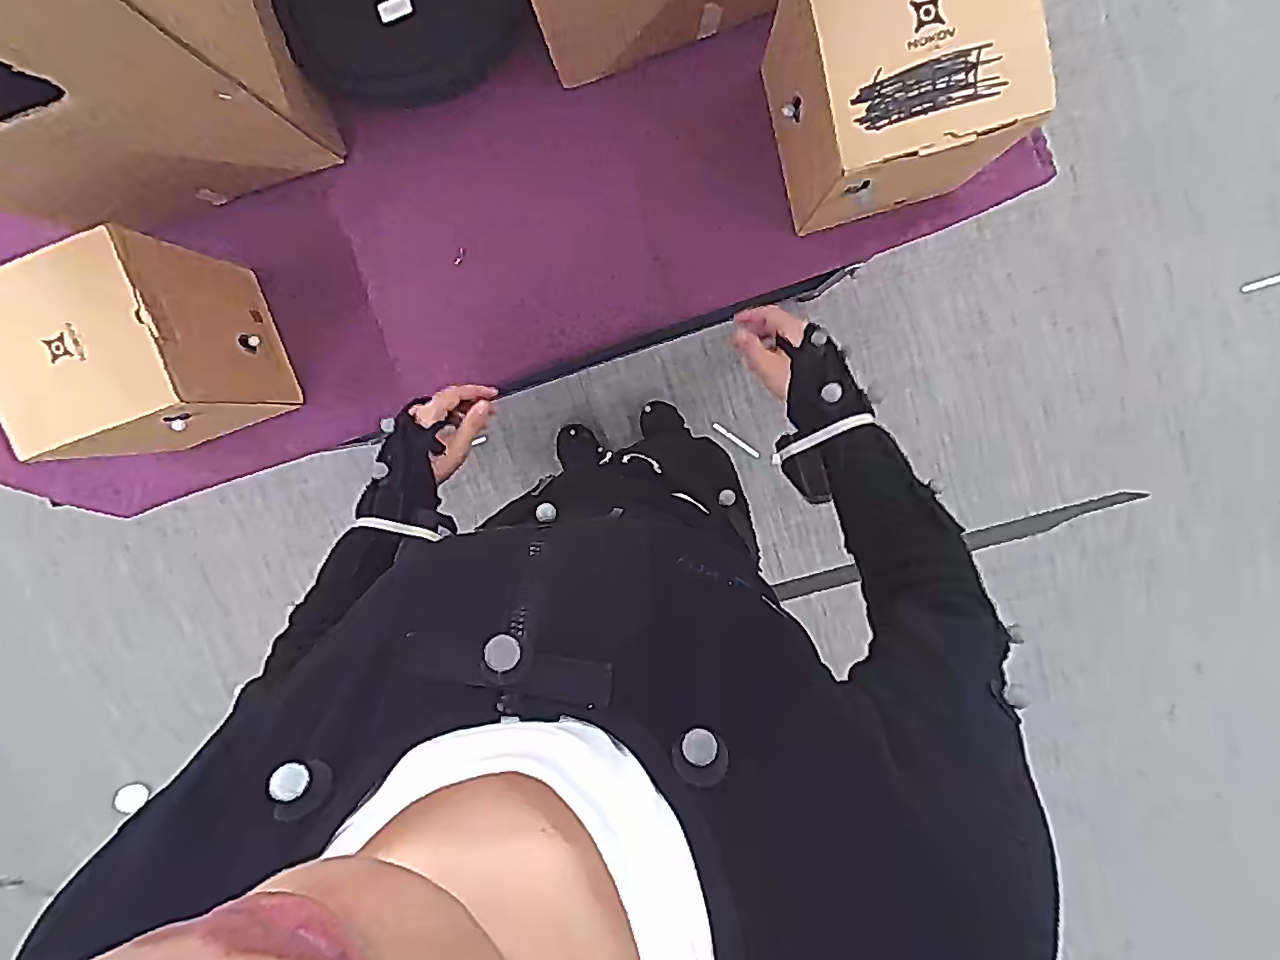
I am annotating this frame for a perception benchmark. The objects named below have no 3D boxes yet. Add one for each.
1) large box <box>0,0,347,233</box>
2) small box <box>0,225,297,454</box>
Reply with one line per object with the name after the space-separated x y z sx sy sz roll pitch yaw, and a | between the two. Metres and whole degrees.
-0.533 -0.485 0.450 0.320 0.320 0.408 -16 100 6 | large box
-0.519 -0.133 0.572 0.179 0.176 0.168 -19 96 5 | small box
